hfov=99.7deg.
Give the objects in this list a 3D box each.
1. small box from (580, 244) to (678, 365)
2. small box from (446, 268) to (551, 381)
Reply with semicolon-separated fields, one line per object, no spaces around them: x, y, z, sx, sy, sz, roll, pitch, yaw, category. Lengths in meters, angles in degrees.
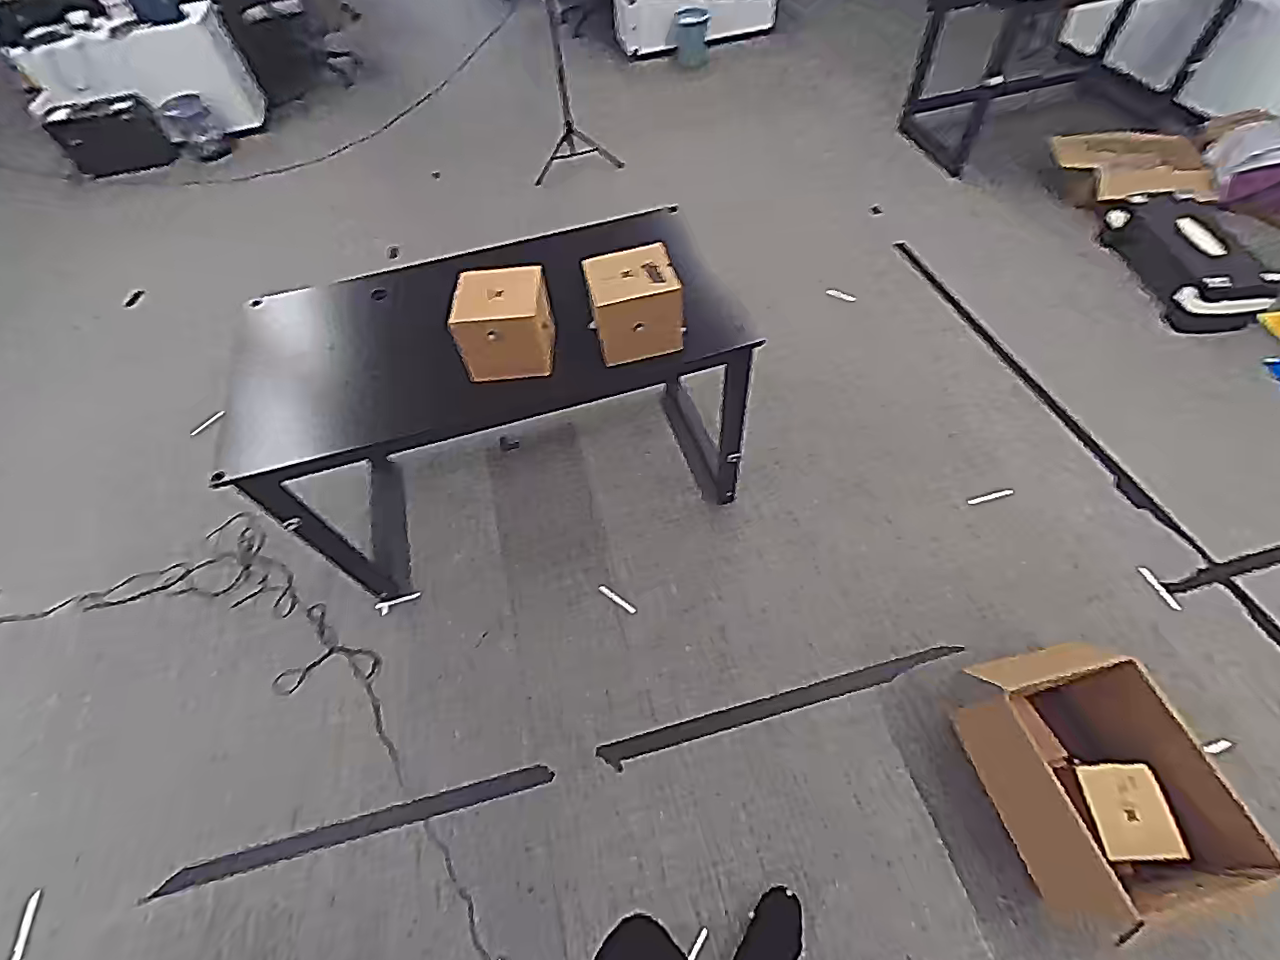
-0.020;-0.380;1.184;0.179;0.176;0.168;-15;56;-3;small box
-0.297;-0.335;1.182;0.179;0.176;0.168;-5;56;3;small box
